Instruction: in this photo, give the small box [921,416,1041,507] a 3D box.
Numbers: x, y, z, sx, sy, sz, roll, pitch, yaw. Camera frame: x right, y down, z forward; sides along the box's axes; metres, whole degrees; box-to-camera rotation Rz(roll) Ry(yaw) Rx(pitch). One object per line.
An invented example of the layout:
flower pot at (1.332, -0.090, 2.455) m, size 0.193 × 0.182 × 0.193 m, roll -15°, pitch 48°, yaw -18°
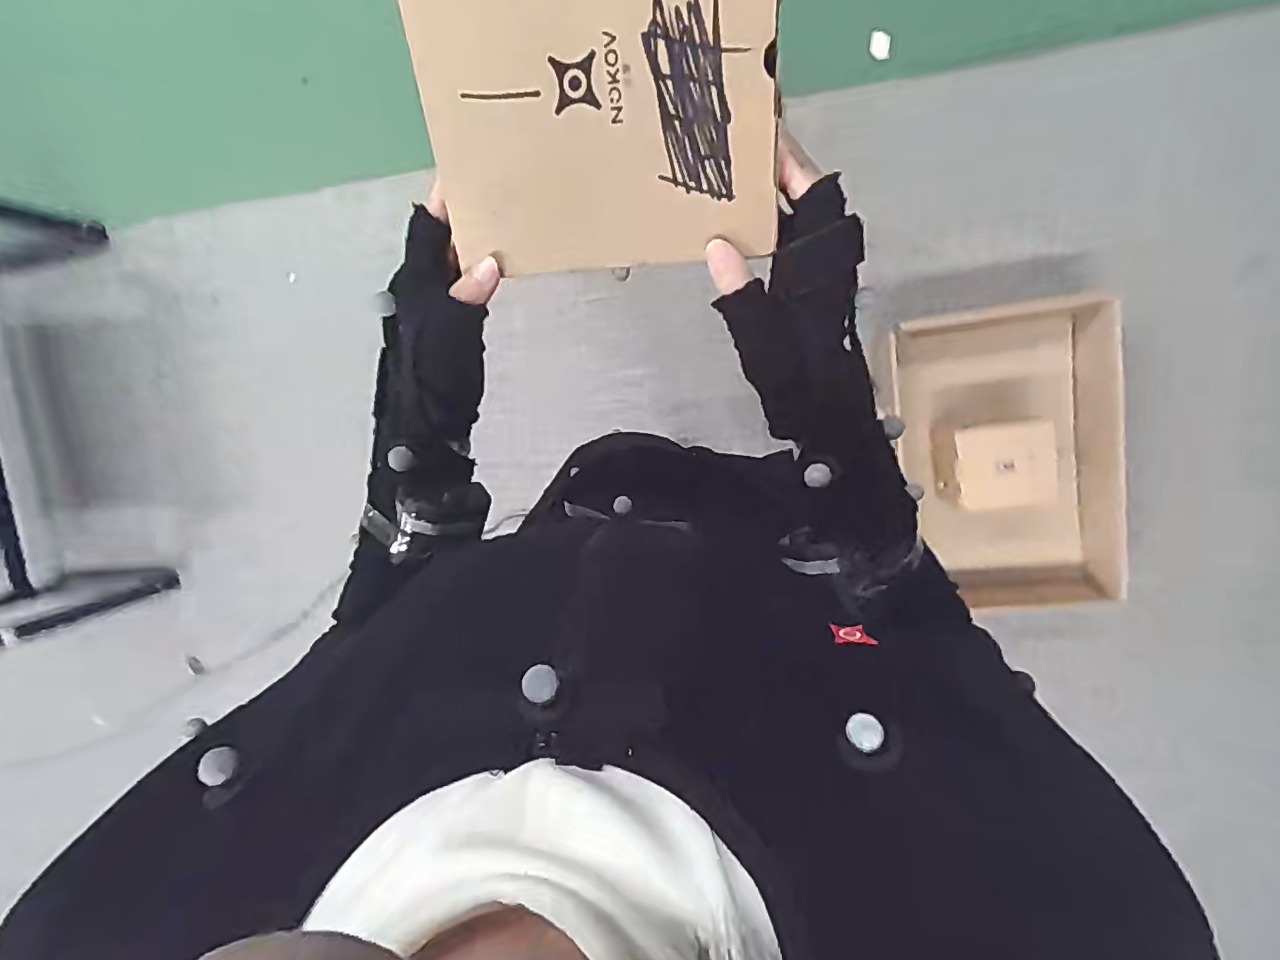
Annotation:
small box at (0.718, -0.043, 1.158) m, size 0.179 × 0.176 × 0.168 m, roll -6°, pitch 99°, yaw 11°
